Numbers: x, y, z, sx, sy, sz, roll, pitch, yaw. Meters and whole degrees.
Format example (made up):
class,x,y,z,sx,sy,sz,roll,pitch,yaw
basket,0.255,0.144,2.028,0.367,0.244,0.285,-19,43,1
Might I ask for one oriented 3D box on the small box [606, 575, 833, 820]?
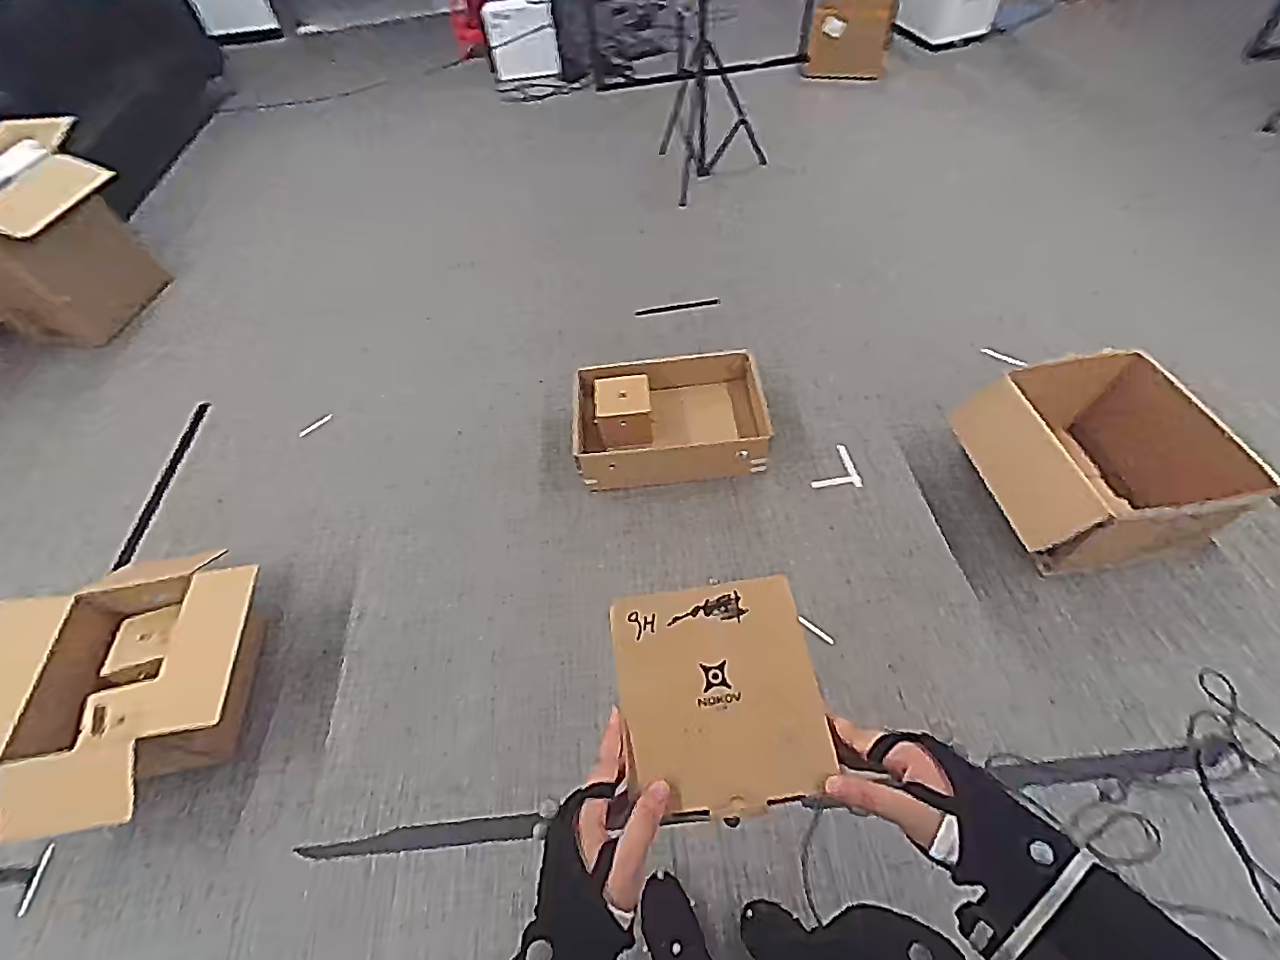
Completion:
class,x,y,z,sx,sy,sz,roll,pitch,yaw
small box,0.065,0.209,0.519,0.168,0.176,0.179,-8,61,0

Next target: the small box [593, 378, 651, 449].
class,x,y,z,sx,sy,sz,roll,pitch,yaw
small box,-0.060,-0.220,1.830,0.179,0.176,0.168,-6,56,0
